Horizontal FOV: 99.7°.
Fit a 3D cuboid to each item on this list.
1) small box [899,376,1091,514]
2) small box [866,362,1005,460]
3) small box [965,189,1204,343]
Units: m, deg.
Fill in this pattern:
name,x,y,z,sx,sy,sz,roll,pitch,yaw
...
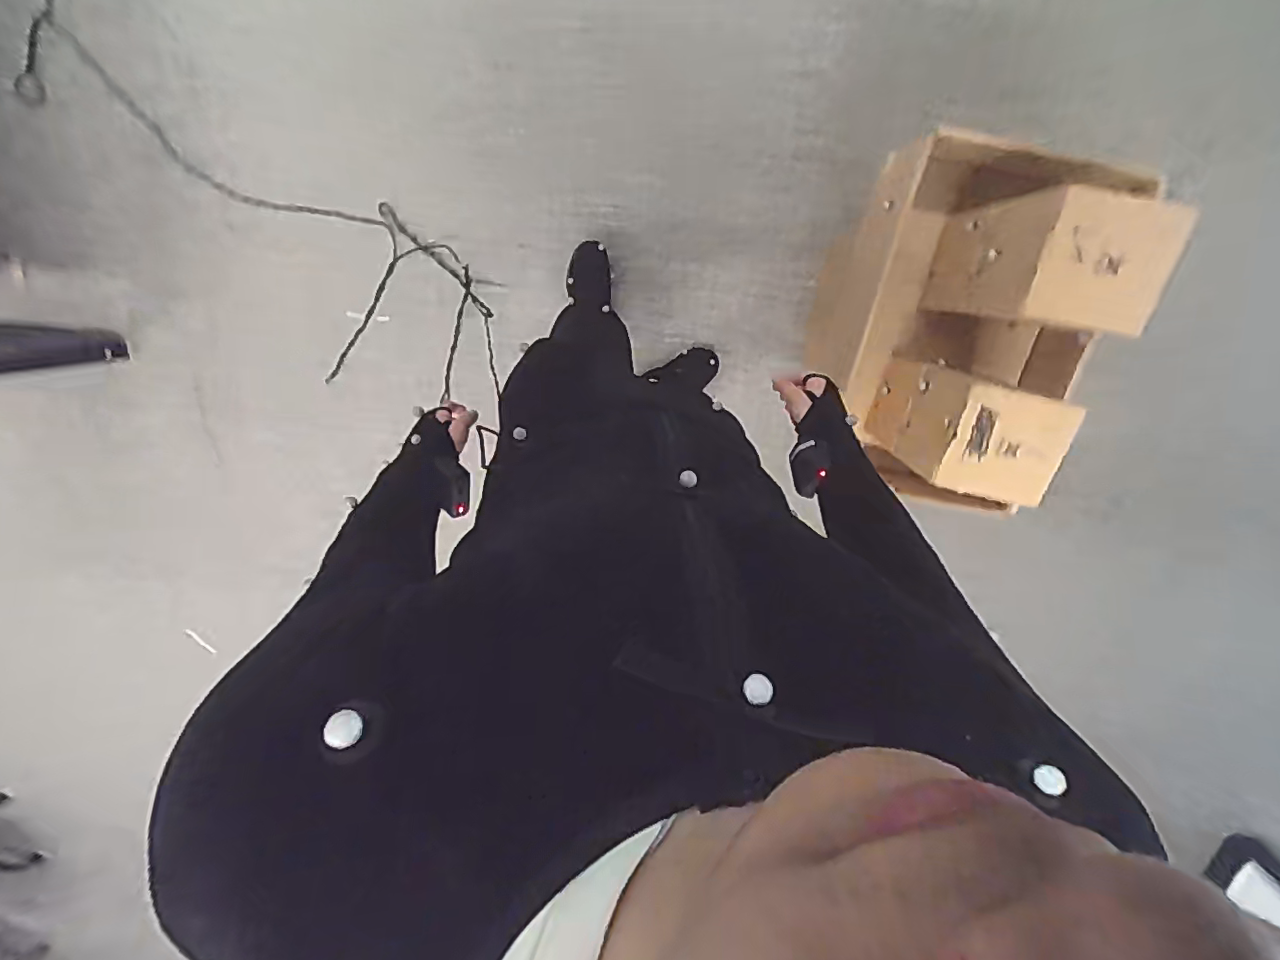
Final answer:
name,x,y,z,sx,sy,sz,roll,pitch,yaw
small box,0.559,-0.066,0.885,0.179,0.176,0.168,13,110,-1
small box,0.569,-0.123,1.039,0.179,0.176,0.168,13,110,0
small box,0.629,-0.308,0.793,0.179,0.176,0.168,11,109,-1
